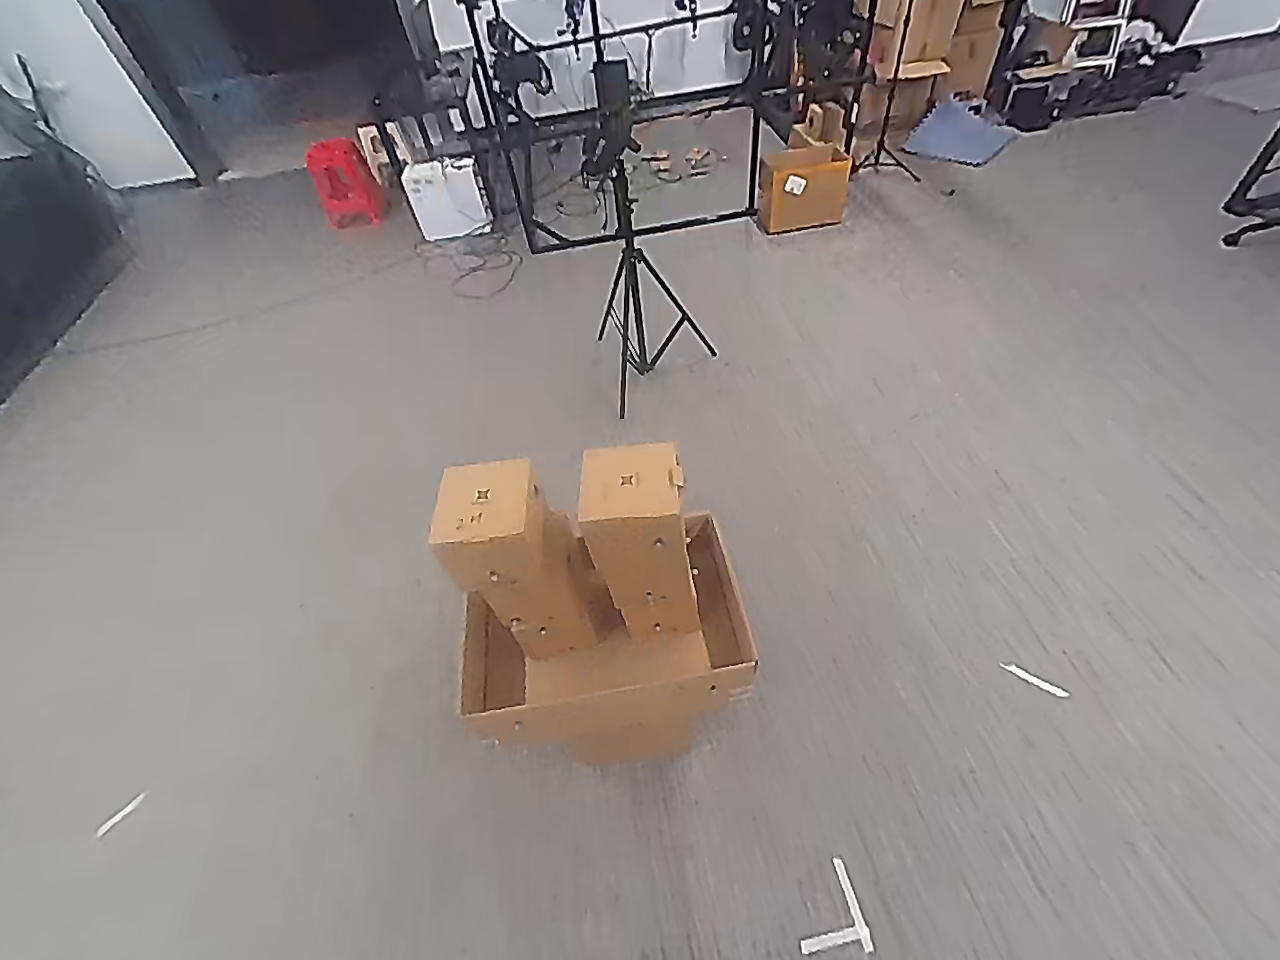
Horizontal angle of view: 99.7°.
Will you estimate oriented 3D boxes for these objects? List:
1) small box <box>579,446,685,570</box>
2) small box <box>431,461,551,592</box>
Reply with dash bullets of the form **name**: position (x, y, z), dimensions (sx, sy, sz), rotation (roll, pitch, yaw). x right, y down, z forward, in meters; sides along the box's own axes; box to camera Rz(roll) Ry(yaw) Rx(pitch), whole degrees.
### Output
- **small box**: position (-0.007, 0.056, 1.010), dimensions (0.179, 0.176, 0.168), rotation (-4, 50, 5)
- **small box**: position (-0.267, 0.089, 1.014), dimensions (0.168, 0.176, 0.179), rotation (-7, 50, 2)
